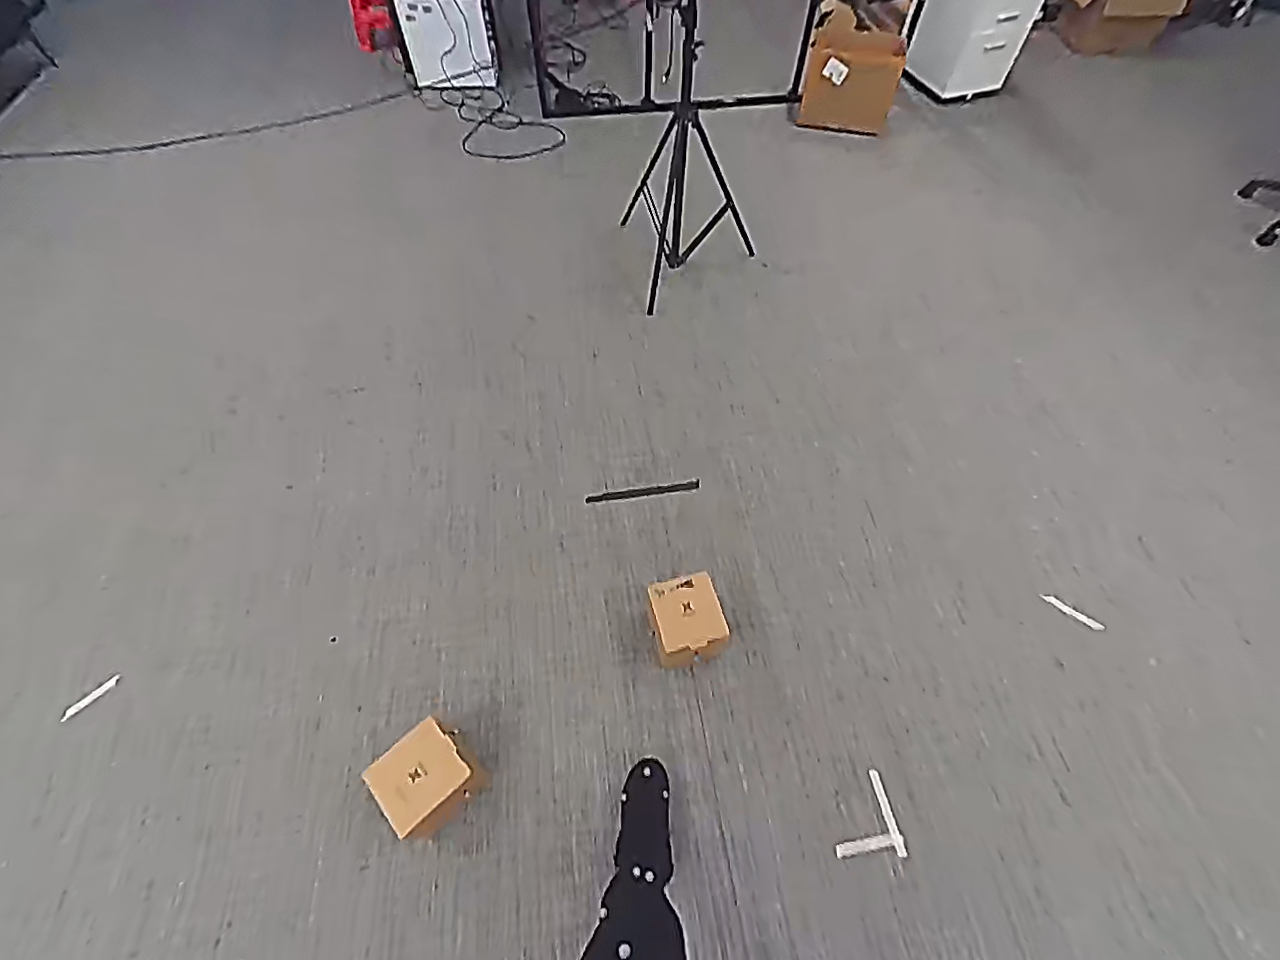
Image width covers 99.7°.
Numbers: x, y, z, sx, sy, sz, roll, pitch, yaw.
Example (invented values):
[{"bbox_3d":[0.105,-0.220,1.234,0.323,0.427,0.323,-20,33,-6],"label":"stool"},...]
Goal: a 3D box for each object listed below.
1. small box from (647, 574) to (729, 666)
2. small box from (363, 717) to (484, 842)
[{"bbox_3d":[0.119,0.370,1.399,0.168,0.176,0.179,-12,59,-8],"label":"small box"},{"bbox_3d":[-0.469,0.668,1.209,0.179,0.176,0.168,-40,64,-22],"label":"small box"}]
